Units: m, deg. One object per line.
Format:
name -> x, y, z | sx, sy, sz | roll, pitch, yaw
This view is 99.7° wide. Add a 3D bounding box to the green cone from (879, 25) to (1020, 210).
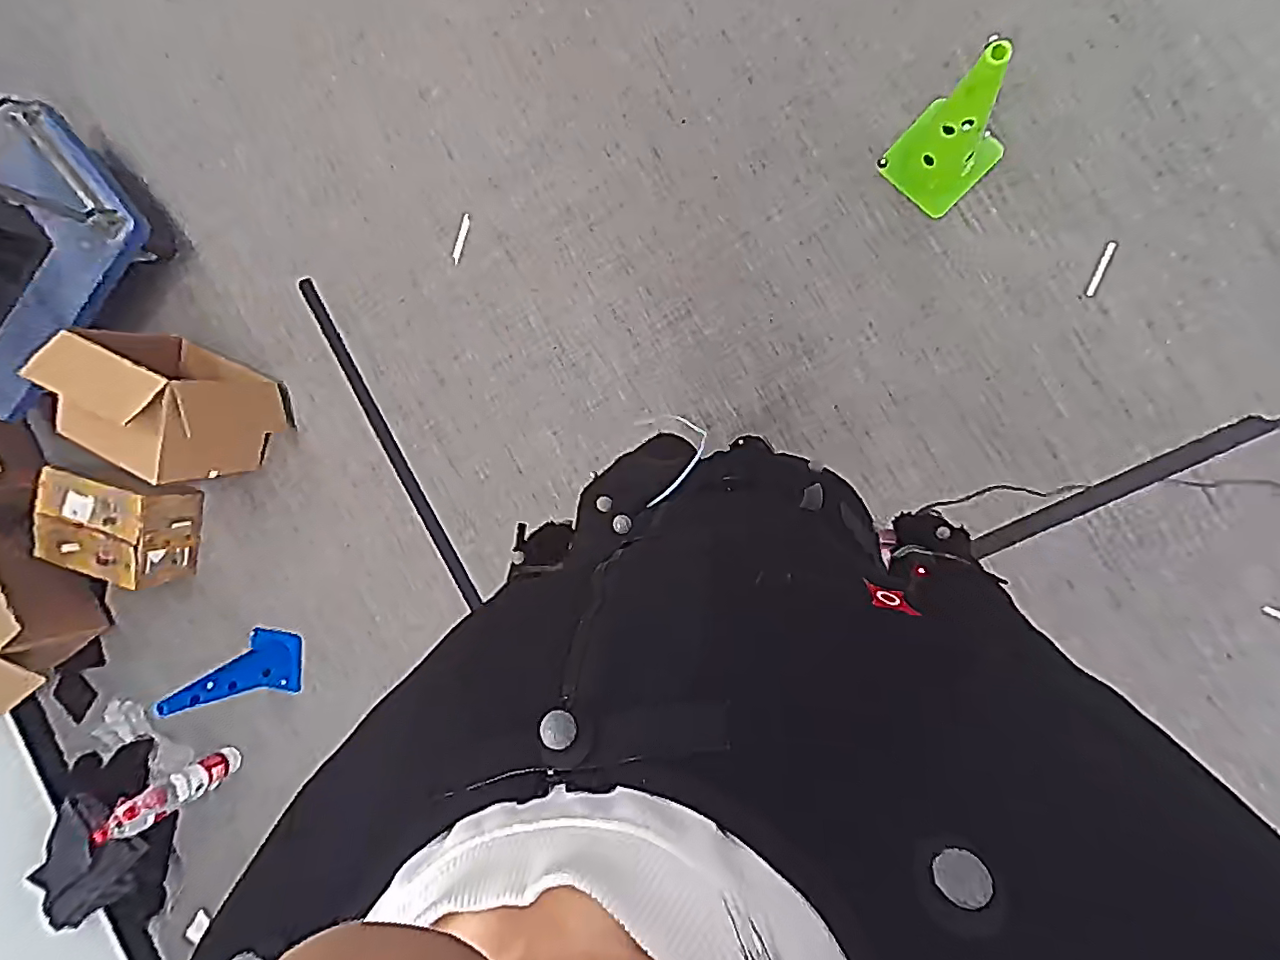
green cone -> 0.647, -0.739, 1.068 | 0.200, 0.368, 0.202 | 45, 102, 6
